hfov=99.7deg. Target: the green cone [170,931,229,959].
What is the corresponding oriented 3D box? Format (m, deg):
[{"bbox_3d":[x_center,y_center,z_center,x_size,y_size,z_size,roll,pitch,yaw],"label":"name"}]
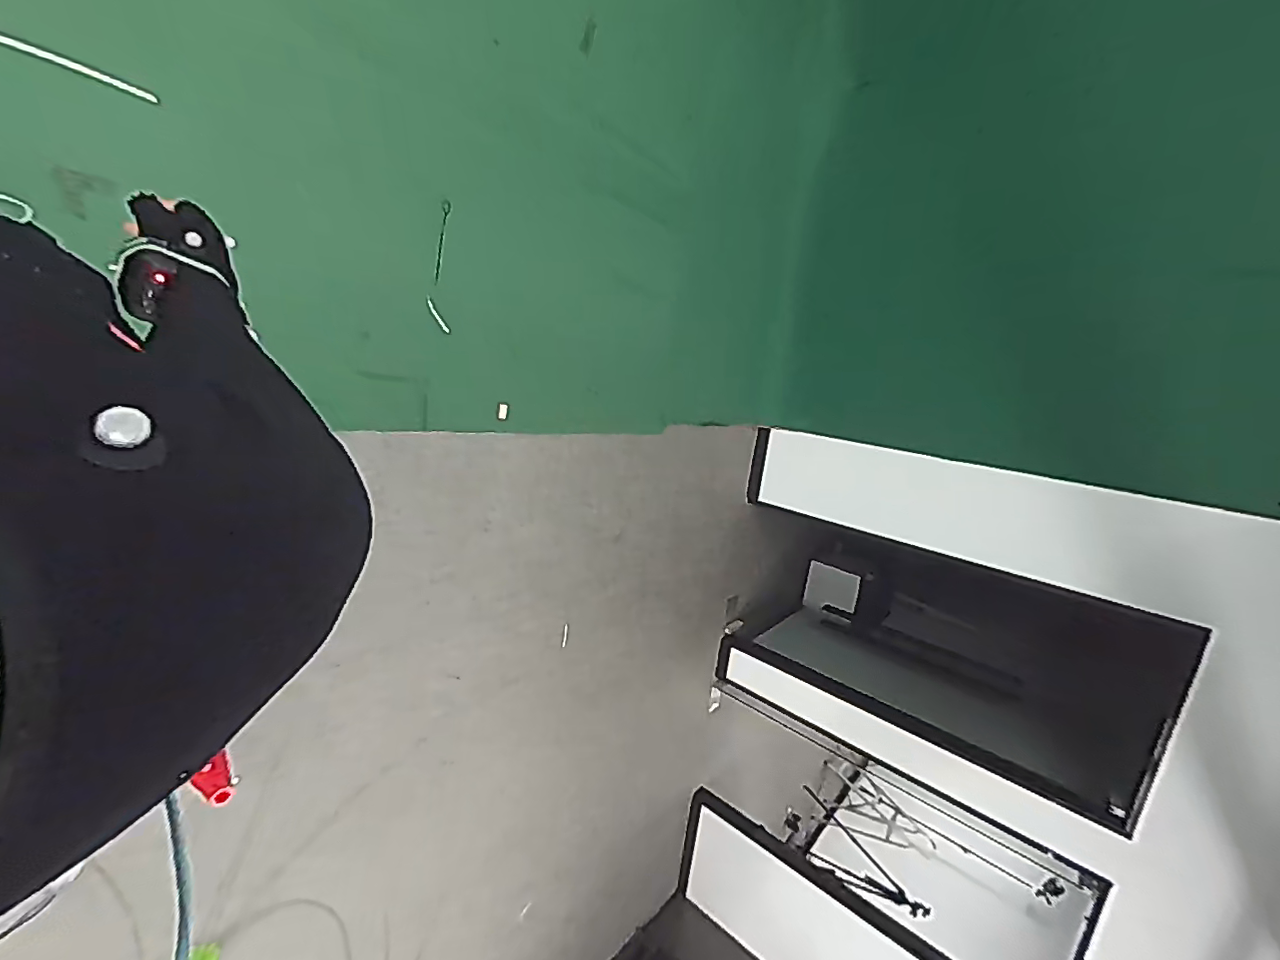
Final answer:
[{"bbox_3d":[-1.109,1.397,1.356,0.202,0.368,0.200,-8,110,-48],"label":"green cone"}]
